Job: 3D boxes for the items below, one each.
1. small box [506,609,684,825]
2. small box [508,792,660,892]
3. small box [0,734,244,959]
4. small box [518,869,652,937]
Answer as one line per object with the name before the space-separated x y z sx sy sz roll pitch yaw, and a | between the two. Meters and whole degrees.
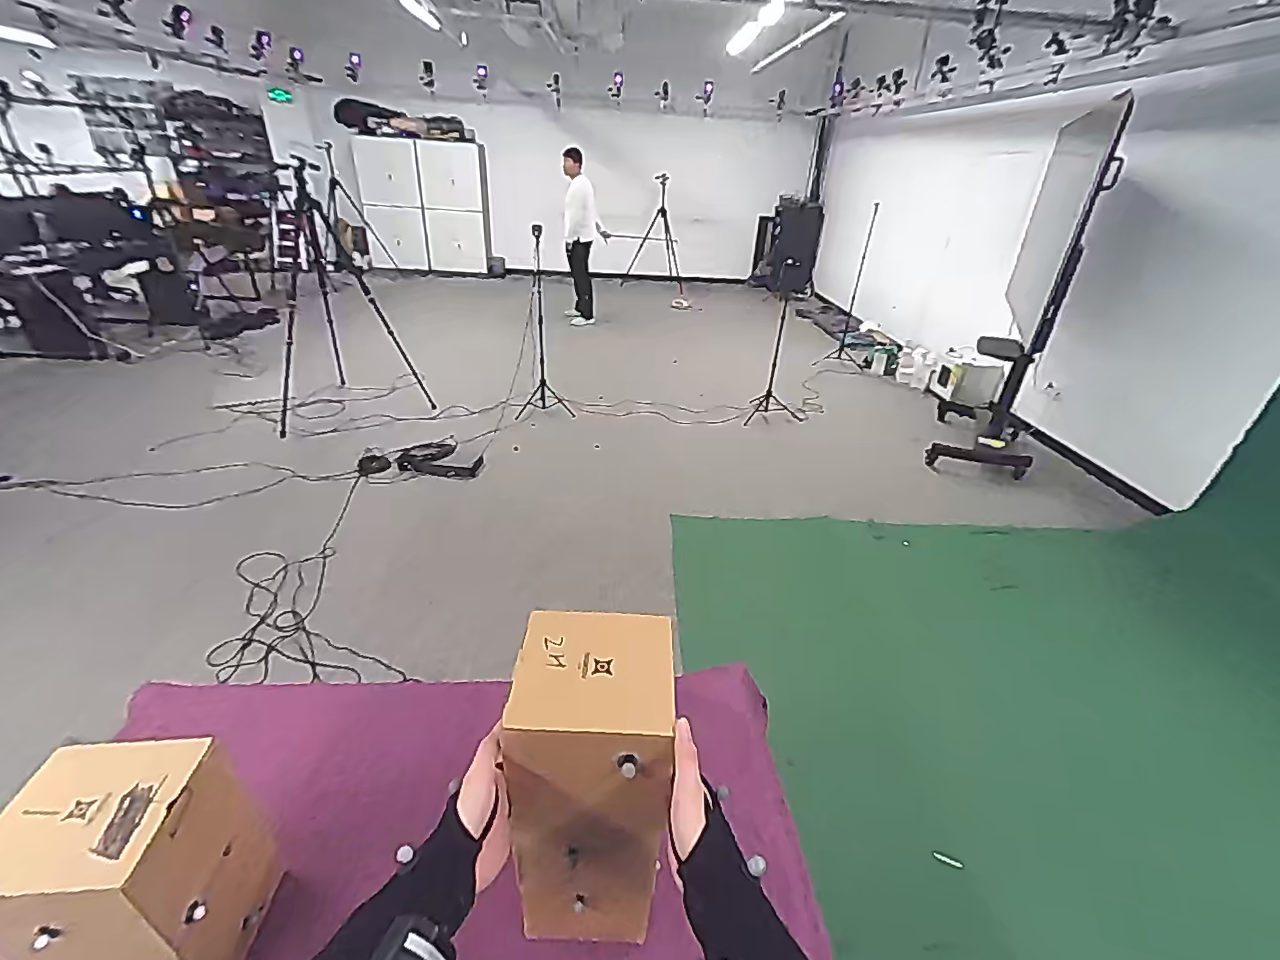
small box | -0.047 0.274 0.632 0.179 0.176 0.168 2 29 -1
small box | -0.063 0.415 0.717 0.179 0.176 0.168 3 31 0
small box | -0.604 0.420 0.623 0.179 0.176 0.168 0 30 -7
small box | -0.075 0.550 0.810 0.179 0.176 0.168 3 31 -1
